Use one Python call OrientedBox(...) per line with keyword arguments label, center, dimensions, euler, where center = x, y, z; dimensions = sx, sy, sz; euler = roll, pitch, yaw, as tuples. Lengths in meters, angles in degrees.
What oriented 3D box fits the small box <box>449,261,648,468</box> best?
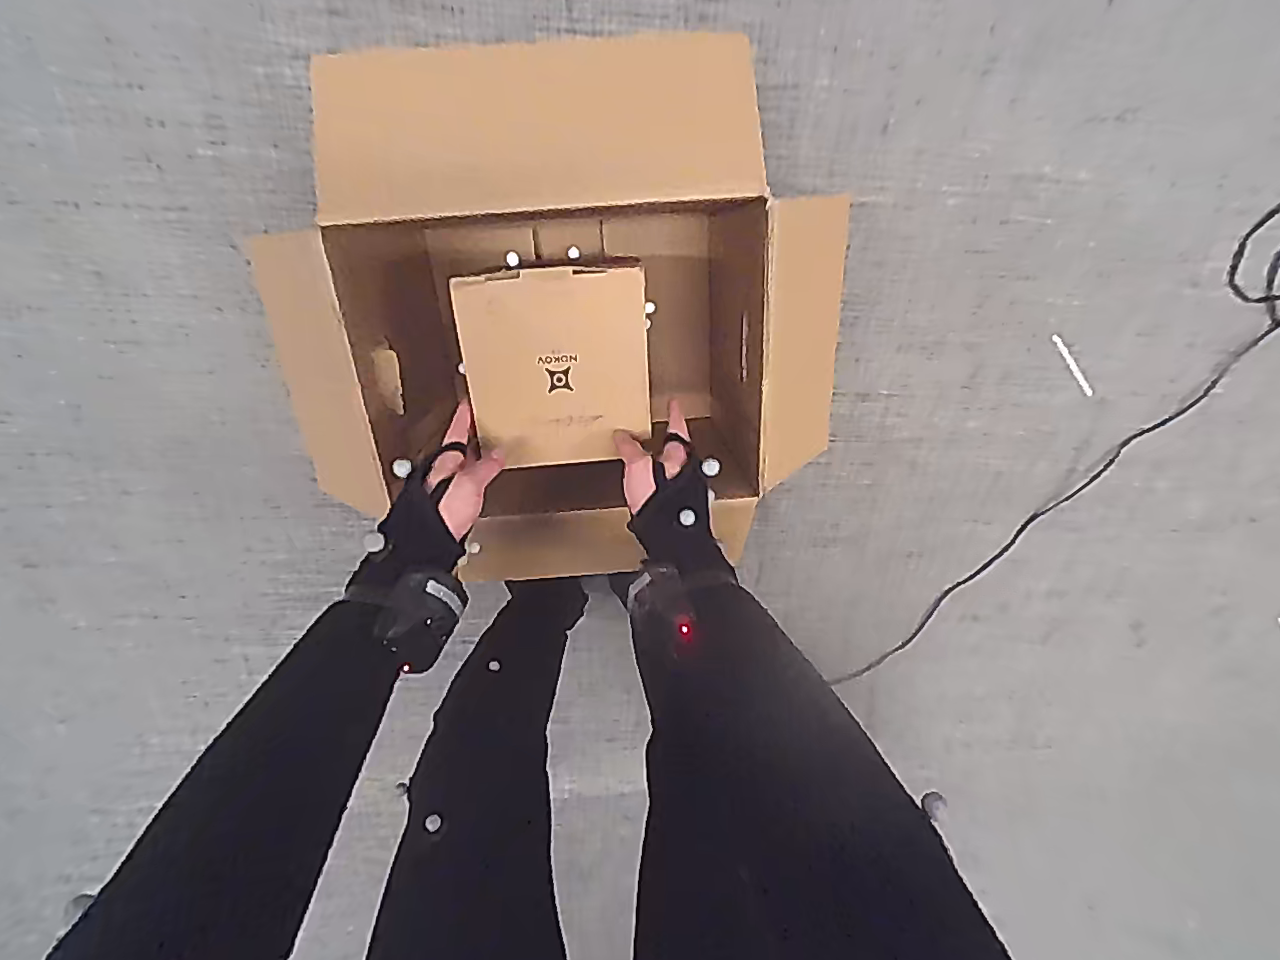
OrientedBox(label="small box", center=(-0.083, -0.129, 0.558), dimensions=(0.168, 0.176, 0.179), euler=(-4, 116, -3))
